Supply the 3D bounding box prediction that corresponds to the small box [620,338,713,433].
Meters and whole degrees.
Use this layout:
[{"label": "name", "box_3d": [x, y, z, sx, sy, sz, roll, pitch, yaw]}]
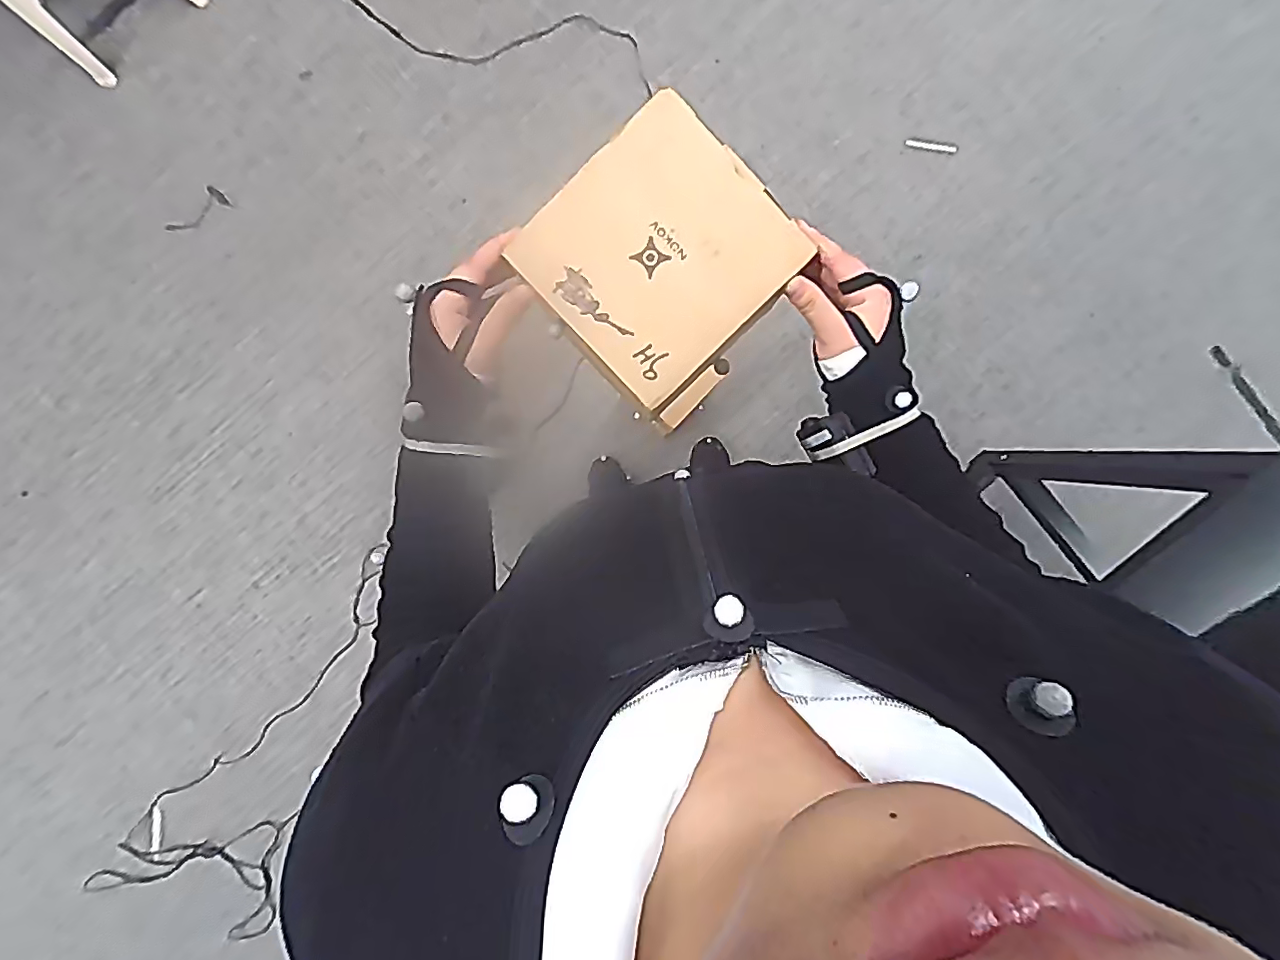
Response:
[{"label": "small box", "box_3d": [0.065, -0.239, 1.414, 0.179, 0.176, 0.168, -44, 92, 3]}]
